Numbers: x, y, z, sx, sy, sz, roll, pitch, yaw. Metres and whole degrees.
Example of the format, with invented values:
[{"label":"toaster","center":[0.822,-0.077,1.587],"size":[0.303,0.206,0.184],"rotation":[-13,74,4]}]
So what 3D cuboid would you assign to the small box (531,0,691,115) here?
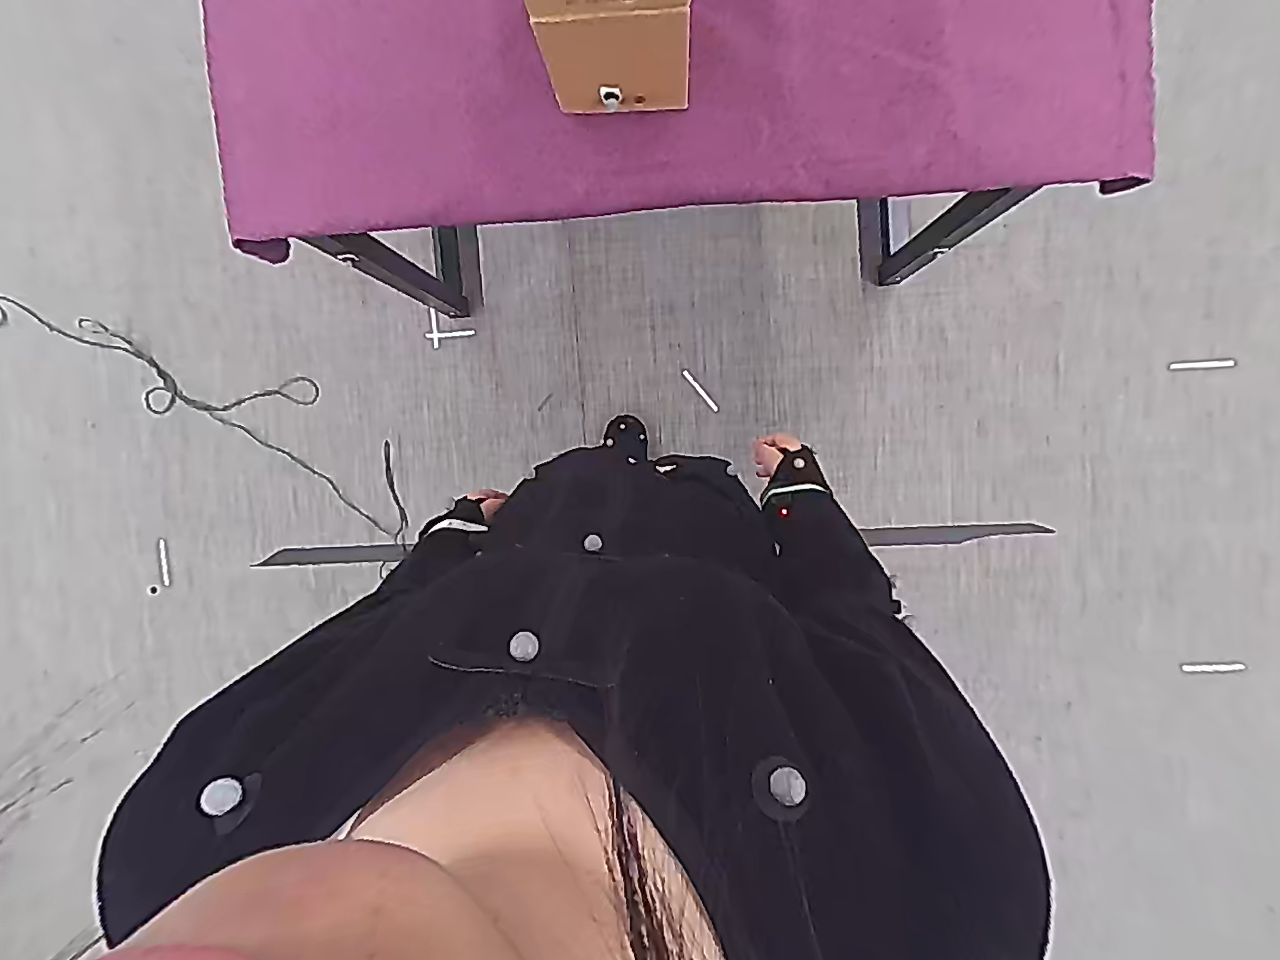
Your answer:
[{"label":"small box","center":[-0.026,-0.562,0.622],"size":[0.168,0.176,0.179],"rotation":[-1,95,4]}]
